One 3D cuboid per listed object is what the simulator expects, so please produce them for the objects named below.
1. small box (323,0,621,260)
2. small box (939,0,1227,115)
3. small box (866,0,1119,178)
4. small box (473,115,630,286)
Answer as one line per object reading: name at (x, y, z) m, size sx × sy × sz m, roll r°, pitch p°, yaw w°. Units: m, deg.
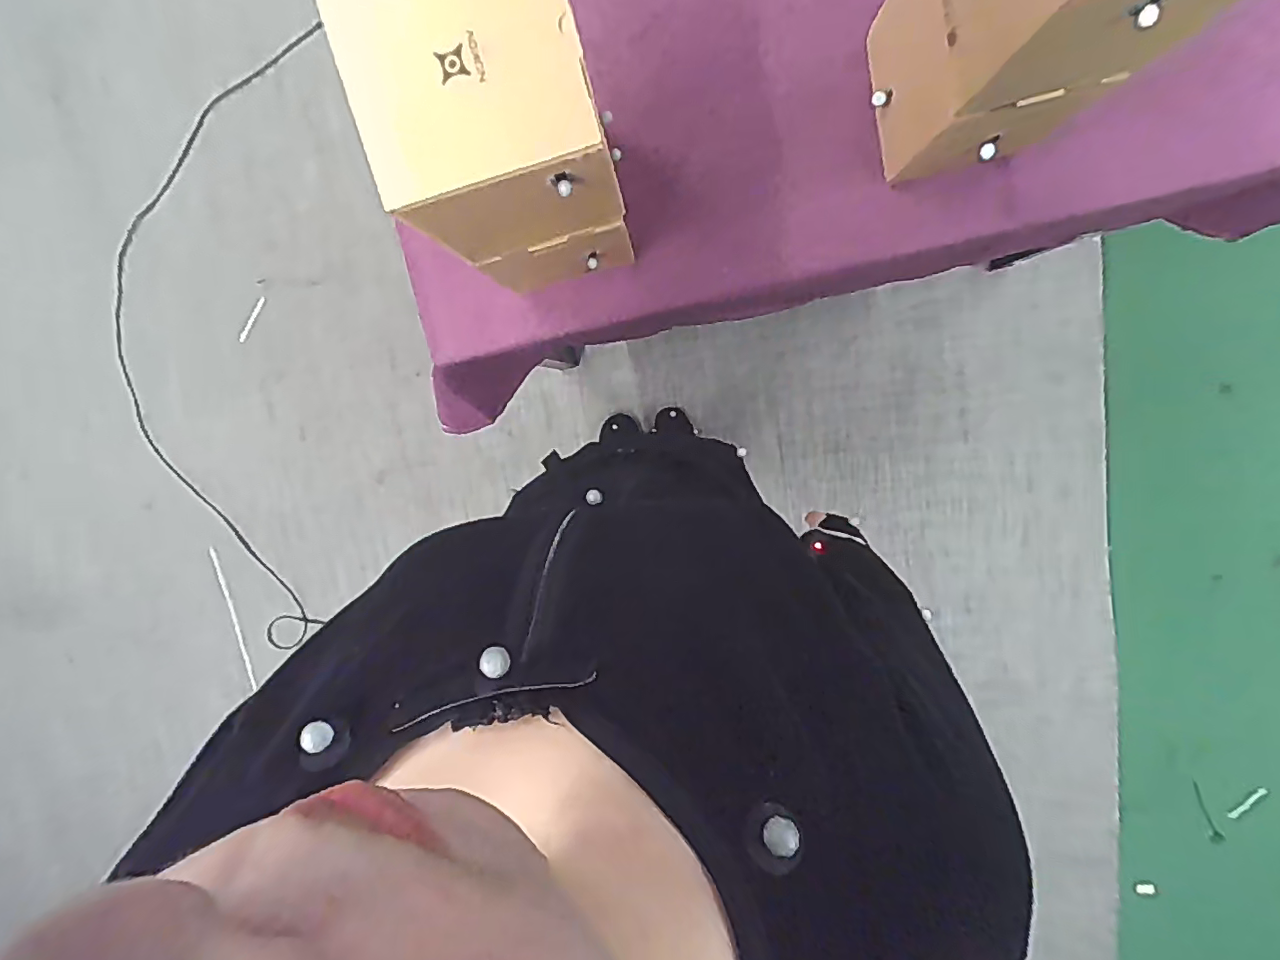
small box at (-0.124, -0.312, 0.472) m, size 0.179 × 0.176 × 0.168 m, roll -15°, pitch 98°, yaw 4°
small box at (0.355, -0.425, 0.421) m, size 0.179 × 0.176 × 0.168 m, roll -12°, pitch 98°, yaw 5°
small box at (0.363, -0.453, 0.584) m, size 0.168 × 0.176 × 0.179 m, roll -11°, pitch 99°, yaw 5°
small box at (-0.111, -0.338, 0.632) m, size 0.168 × 0.176 × 0.179 m, roll -13°, pitch 98°, yaw 4°
